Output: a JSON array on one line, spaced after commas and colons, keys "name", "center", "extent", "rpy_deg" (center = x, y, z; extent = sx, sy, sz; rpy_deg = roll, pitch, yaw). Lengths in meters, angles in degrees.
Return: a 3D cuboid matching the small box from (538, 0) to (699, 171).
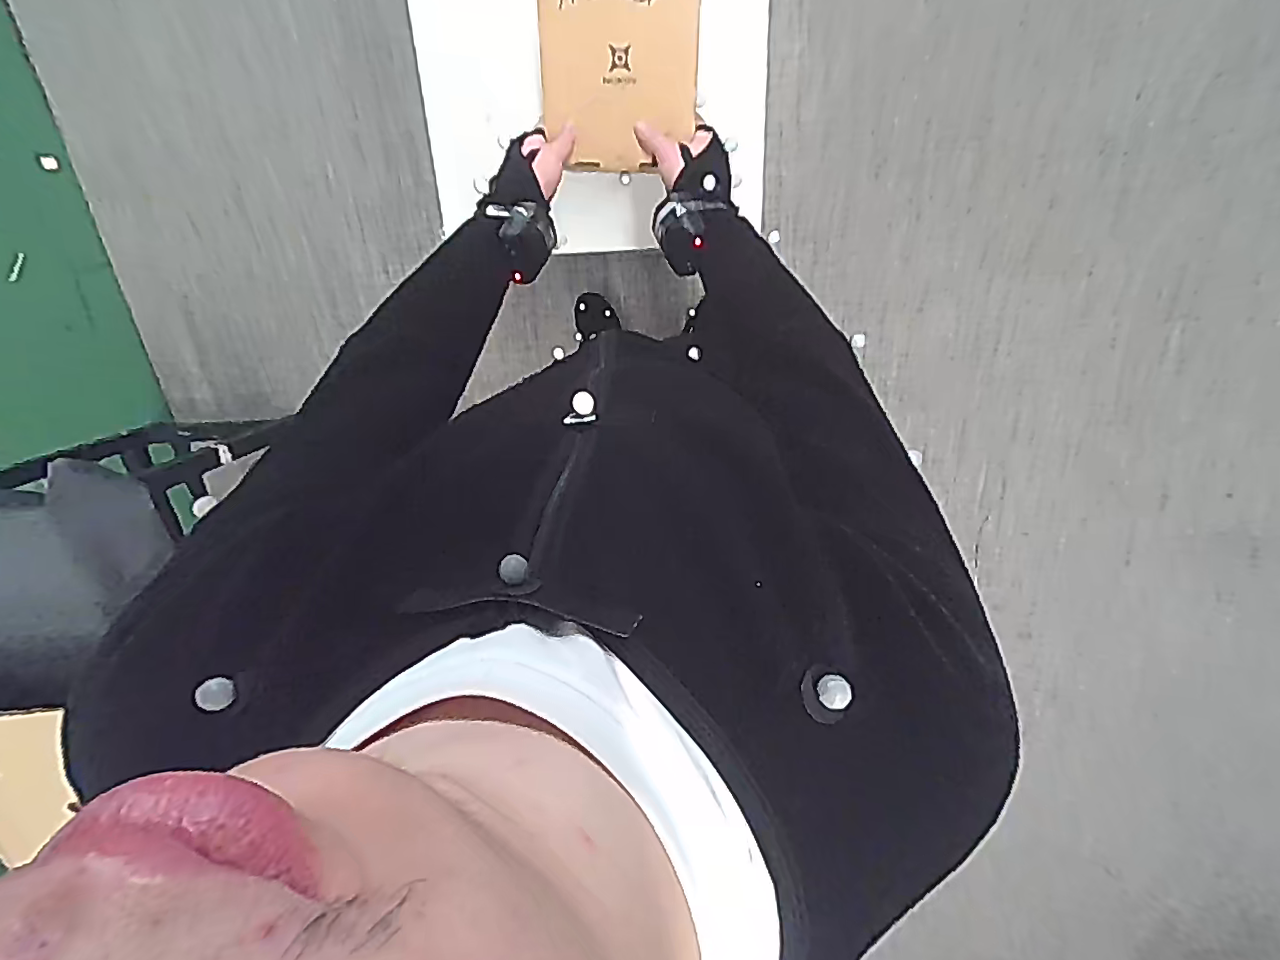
[{"name": "small box", "center": [-0.017, -0.467, 0.637], "extent": [0.168, 0.176, 0.179], "rpy_deg": [0, 117, 3]}]
